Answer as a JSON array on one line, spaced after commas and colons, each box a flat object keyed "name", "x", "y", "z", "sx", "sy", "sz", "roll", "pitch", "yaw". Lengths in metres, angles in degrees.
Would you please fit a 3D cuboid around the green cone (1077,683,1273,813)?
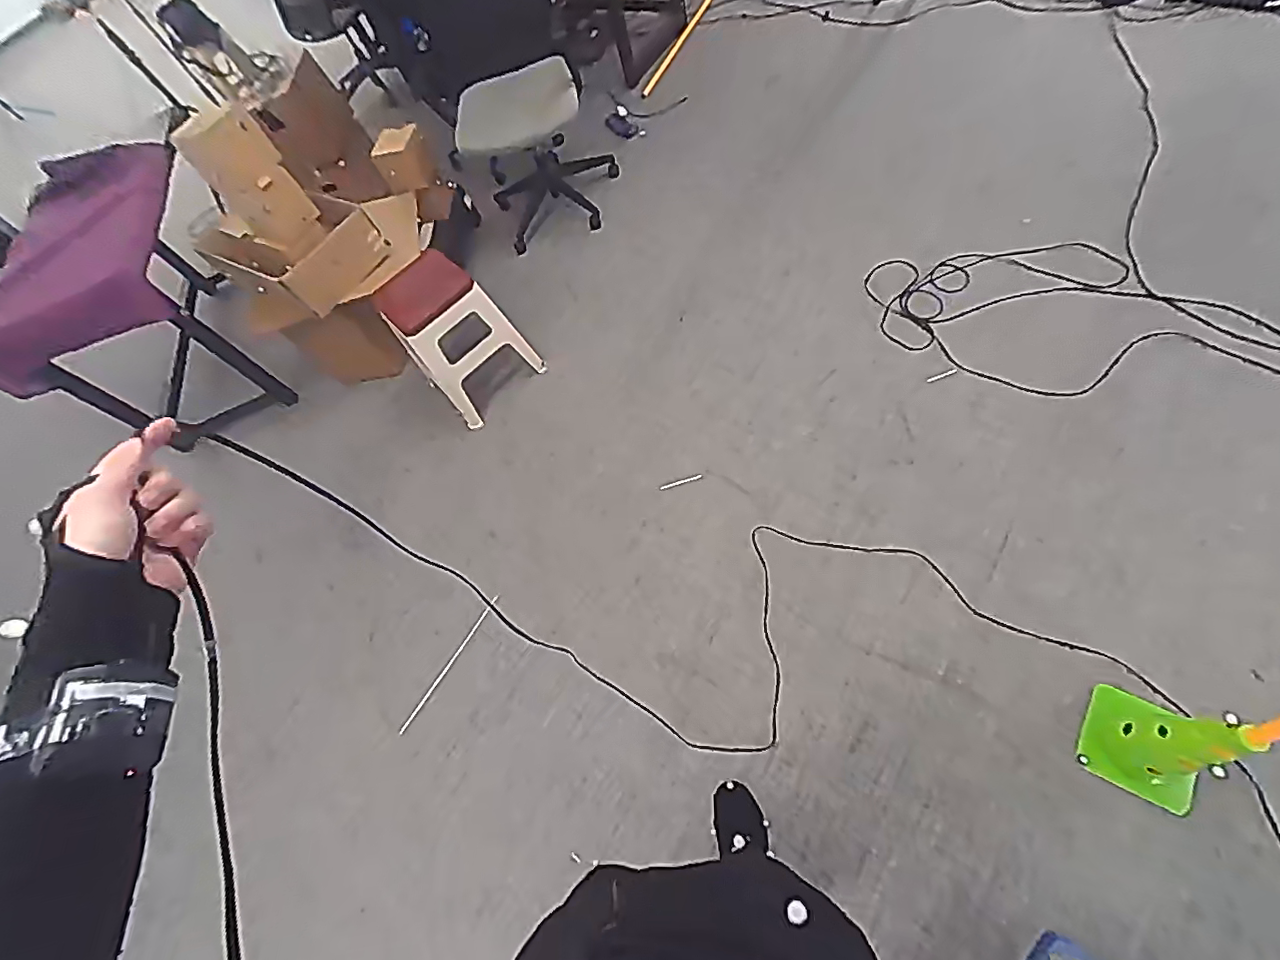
[{"name": "green cone", "x": 1.038, "y": 0.491, "z": 1.019, "sx": 0.200, "sy": 0.368, "sz": 0.202, "roll": 23, "pitch": 70, "yaw": 25}]
